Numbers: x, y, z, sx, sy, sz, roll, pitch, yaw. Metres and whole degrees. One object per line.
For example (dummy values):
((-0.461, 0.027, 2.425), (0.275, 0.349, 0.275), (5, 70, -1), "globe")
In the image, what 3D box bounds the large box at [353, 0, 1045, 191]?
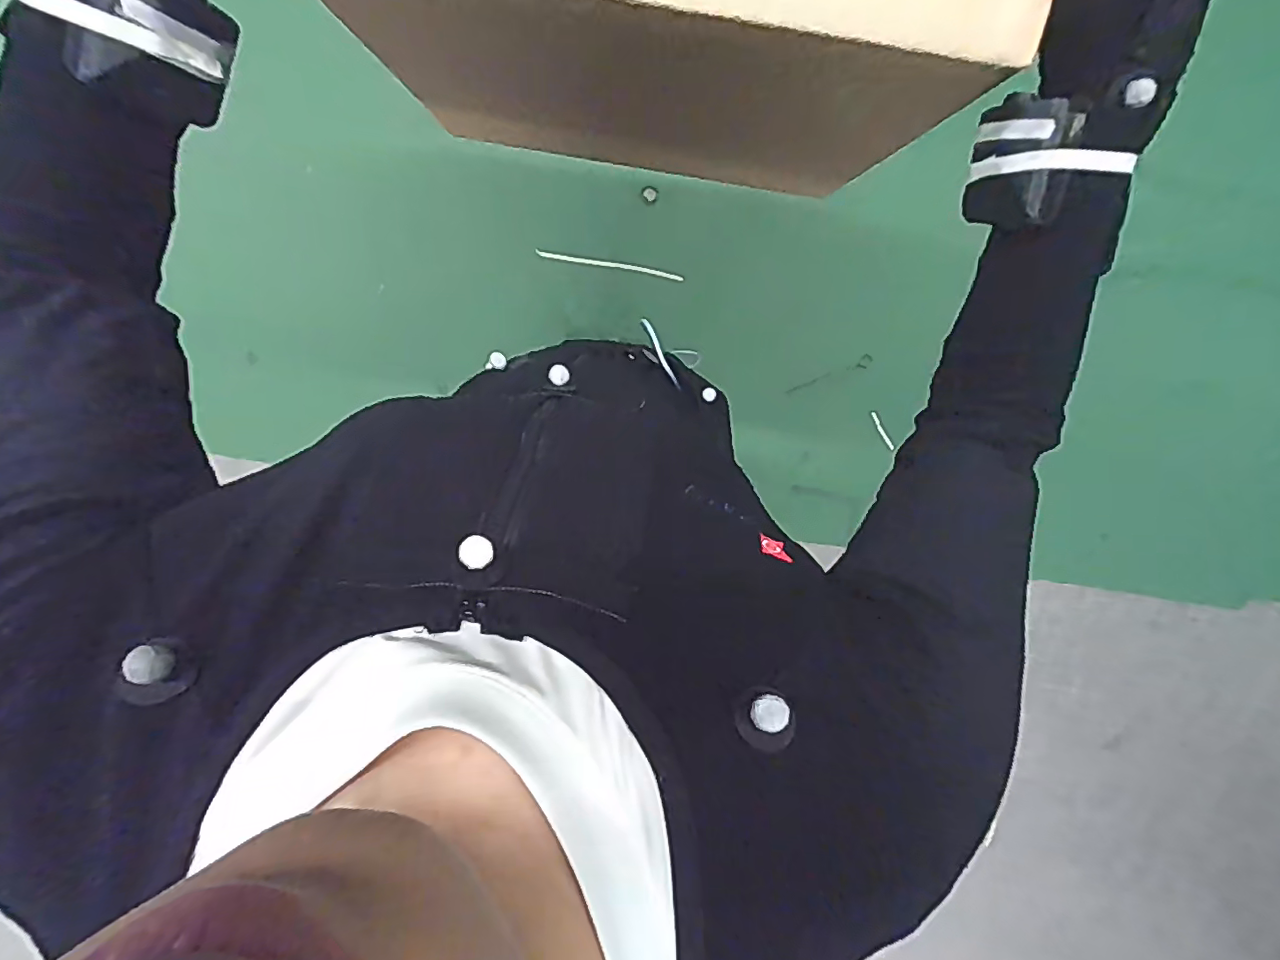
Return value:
((0.031, -0.438, 0.391), (0.408, 0.320, 0.320), (7, 106, -4), "large box")
